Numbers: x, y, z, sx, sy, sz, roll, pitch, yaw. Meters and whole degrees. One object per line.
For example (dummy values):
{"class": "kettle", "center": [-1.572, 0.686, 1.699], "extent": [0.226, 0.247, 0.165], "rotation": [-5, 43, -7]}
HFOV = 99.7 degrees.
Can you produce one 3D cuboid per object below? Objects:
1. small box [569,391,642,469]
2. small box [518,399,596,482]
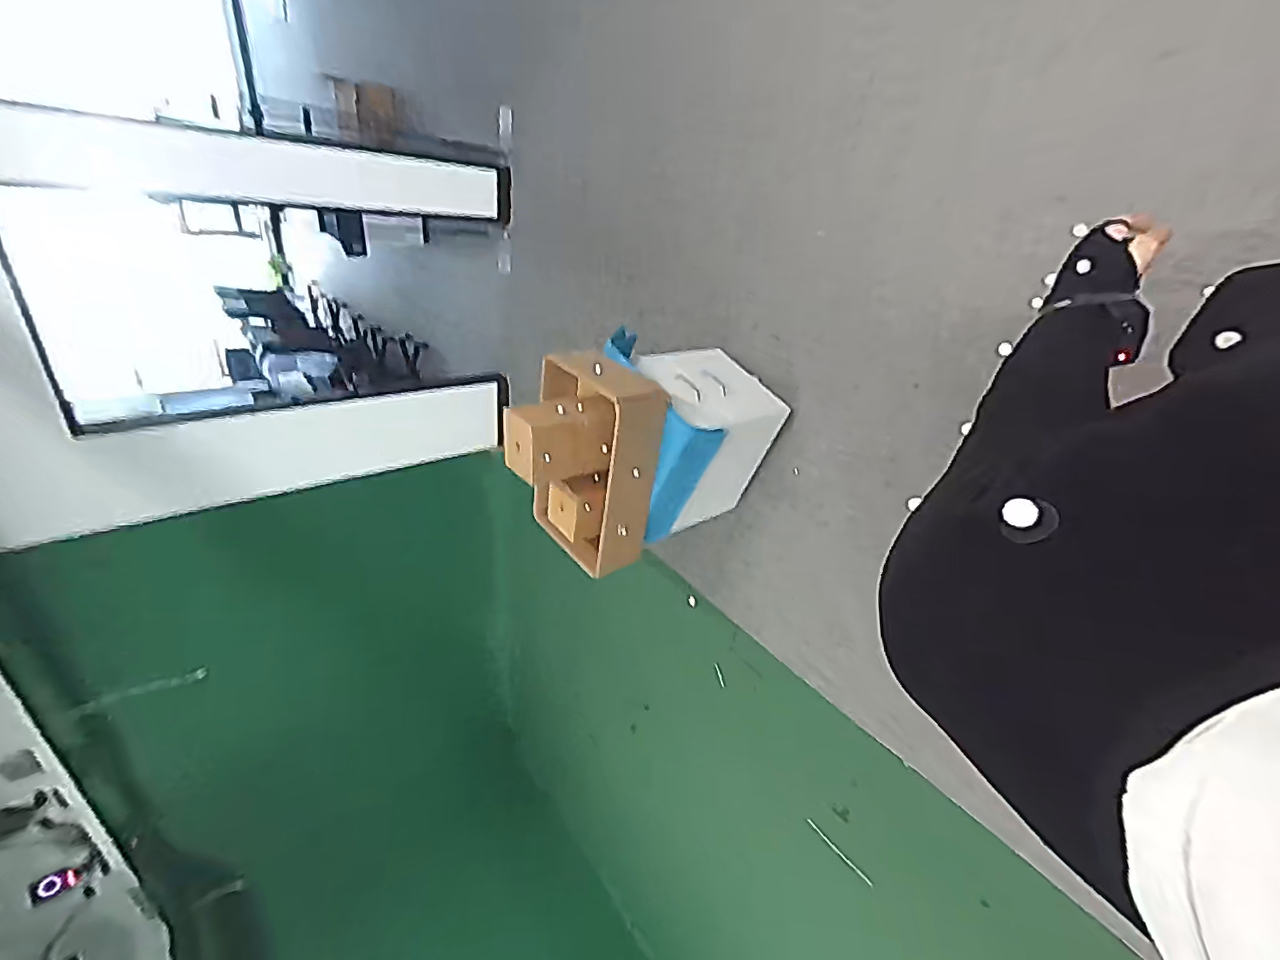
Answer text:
{"class": "small box", "center": [-0.107, -0.158, 1.647], "extent": [0.168, 0.176, 0.179], "rotation": [35, 130, 42]}
{"class": "small box", "center": [-0.237, -0.120, 1.555], "extent": [0.168, 0.176, 0.179], "rotation": [33, 128, 43]}
